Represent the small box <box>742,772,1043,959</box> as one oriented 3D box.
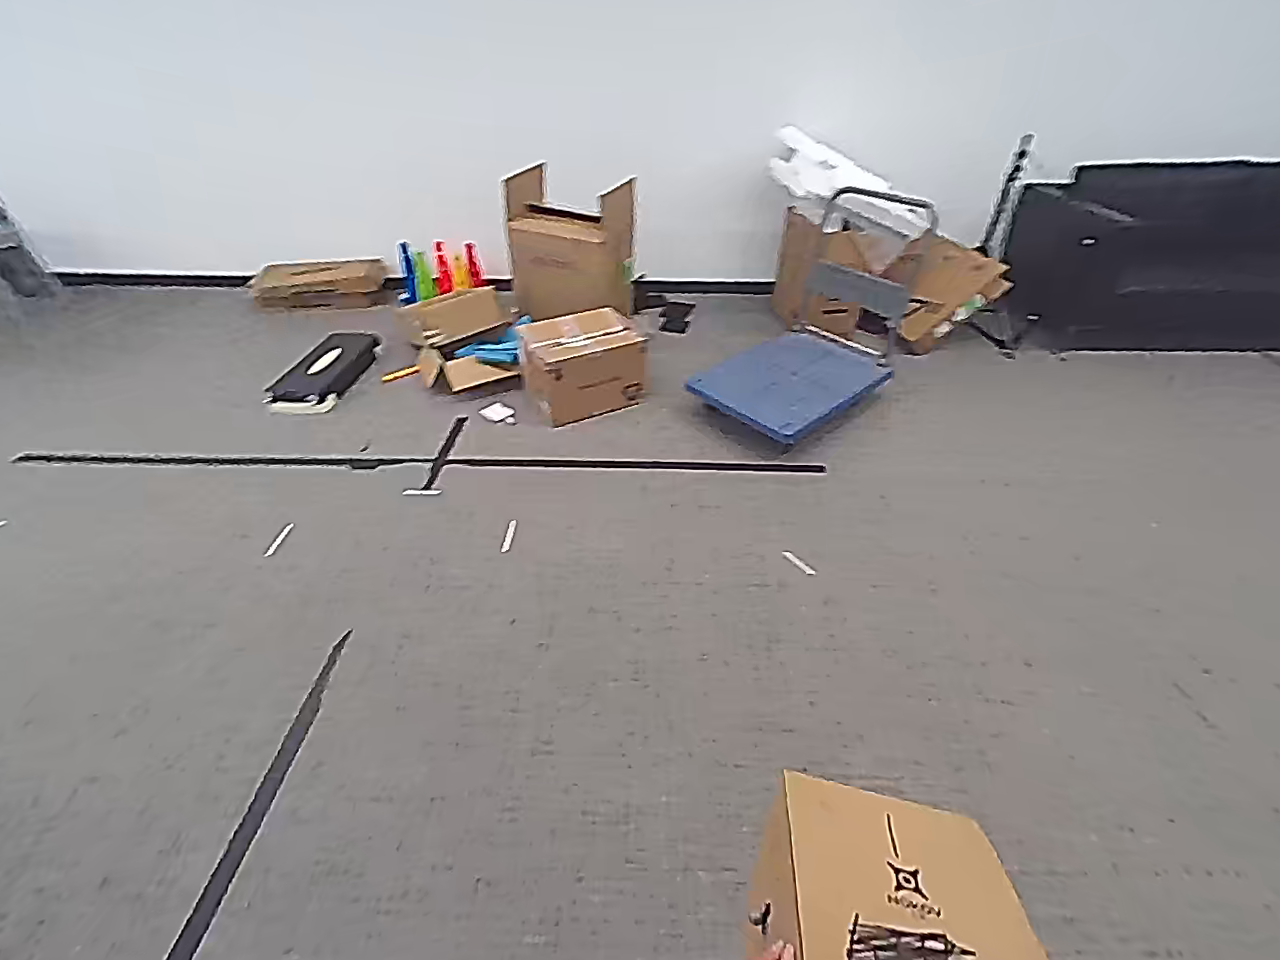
[{"bbox_3d":[0.172,0.367,0.399,0.168,0.176,0.179,11,15,8],"label":"small box"}]
